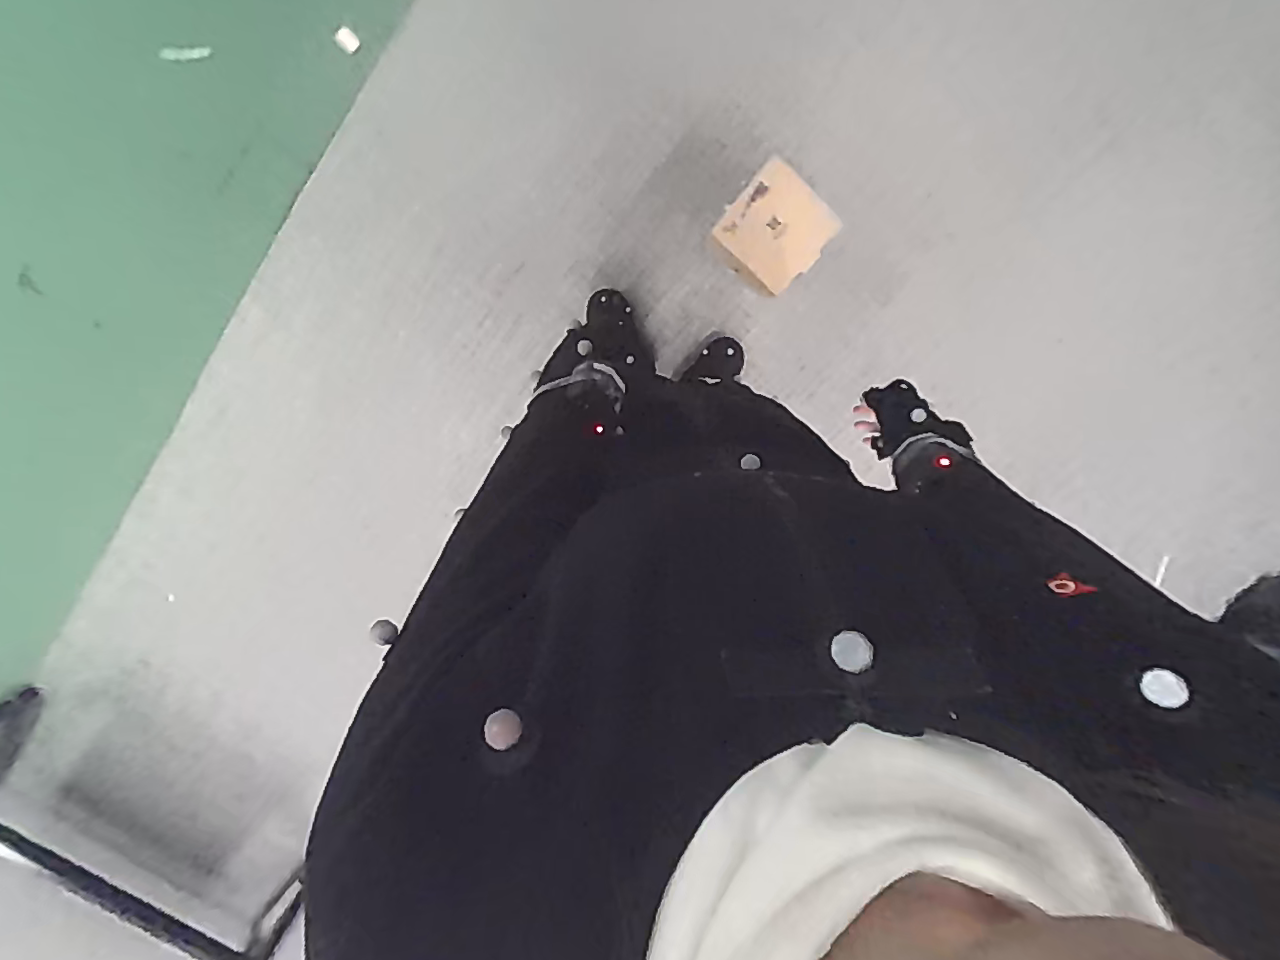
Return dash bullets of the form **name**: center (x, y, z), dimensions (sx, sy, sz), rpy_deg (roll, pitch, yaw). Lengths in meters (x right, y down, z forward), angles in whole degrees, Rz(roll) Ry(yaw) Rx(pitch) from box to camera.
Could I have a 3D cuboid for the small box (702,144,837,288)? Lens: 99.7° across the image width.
- **small box**: center (0.238, -0.494, 1.035), dimensions (0.179, 0.176, 0.168), rpy_deg (41, 106, -11)
